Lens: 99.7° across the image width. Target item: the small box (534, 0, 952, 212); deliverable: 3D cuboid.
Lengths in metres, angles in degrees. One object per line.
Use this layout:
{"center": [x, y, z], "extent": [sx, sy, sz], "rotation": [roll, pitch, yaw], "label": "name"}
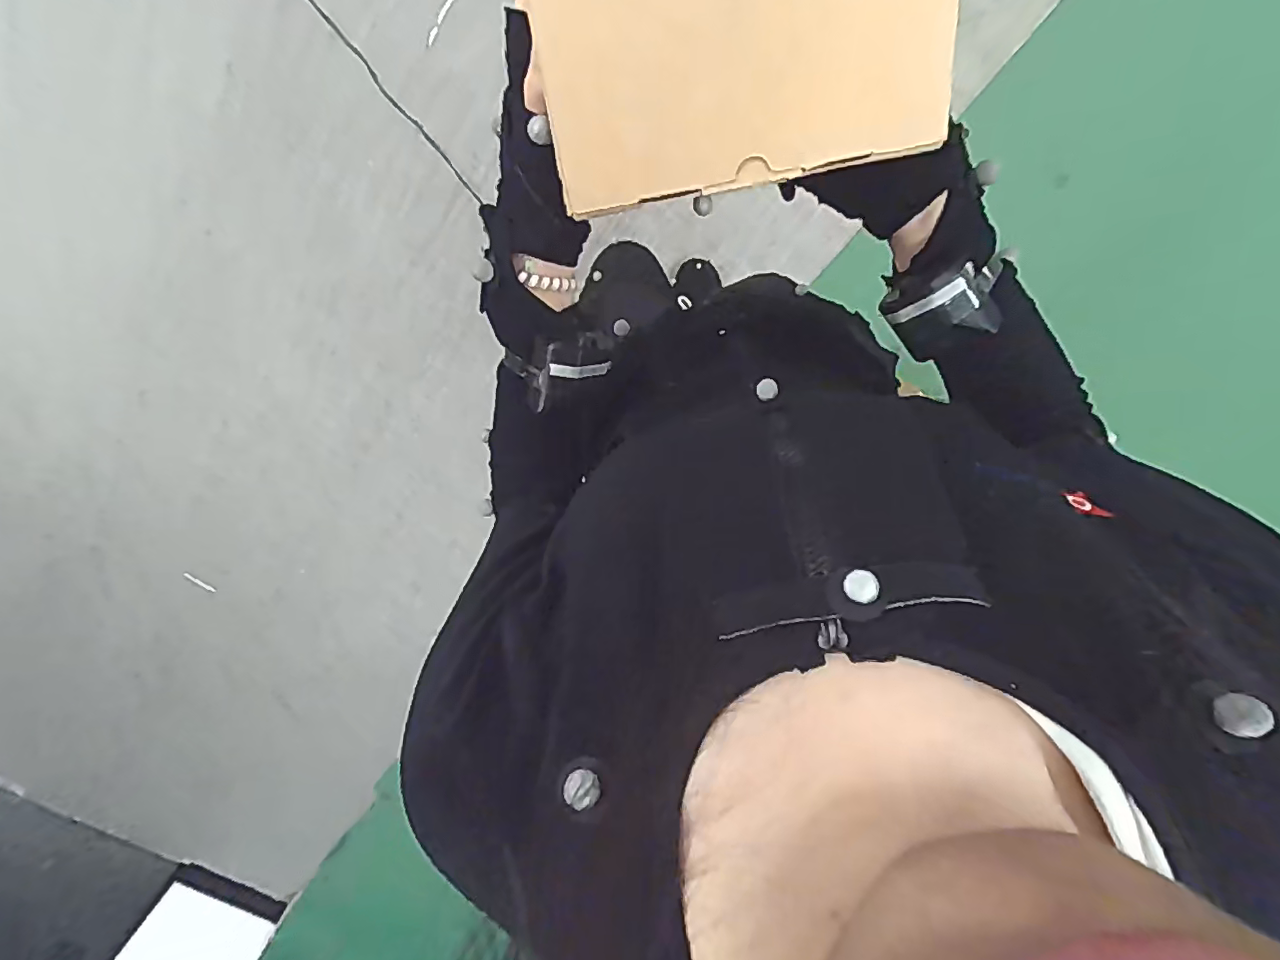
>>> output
{"center": [0.036, -0.245, 0.274], "extent": [0.168, 0.176, 0.179], "rotation": [-9, 118, 6], "label": "small box"}
